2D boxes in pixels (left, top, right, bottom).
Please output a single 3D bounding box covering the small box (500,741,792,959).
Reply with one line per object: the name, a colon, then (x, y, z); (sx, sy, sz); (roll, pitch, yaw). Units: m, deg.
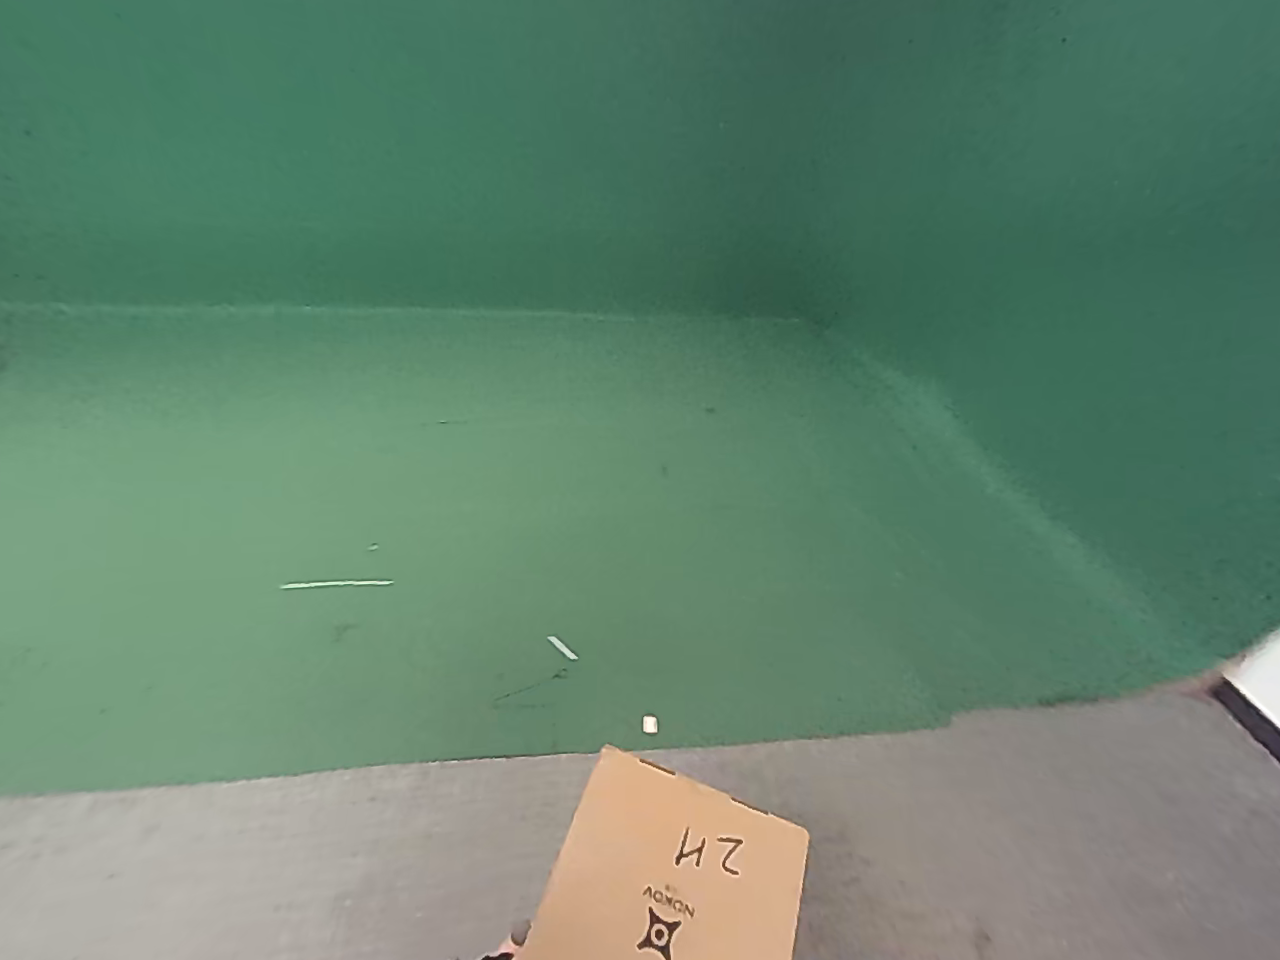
small box: (0.006, 0.343, 0.420); (0.168, 0.176, 0.179); (16, 50, 13)
